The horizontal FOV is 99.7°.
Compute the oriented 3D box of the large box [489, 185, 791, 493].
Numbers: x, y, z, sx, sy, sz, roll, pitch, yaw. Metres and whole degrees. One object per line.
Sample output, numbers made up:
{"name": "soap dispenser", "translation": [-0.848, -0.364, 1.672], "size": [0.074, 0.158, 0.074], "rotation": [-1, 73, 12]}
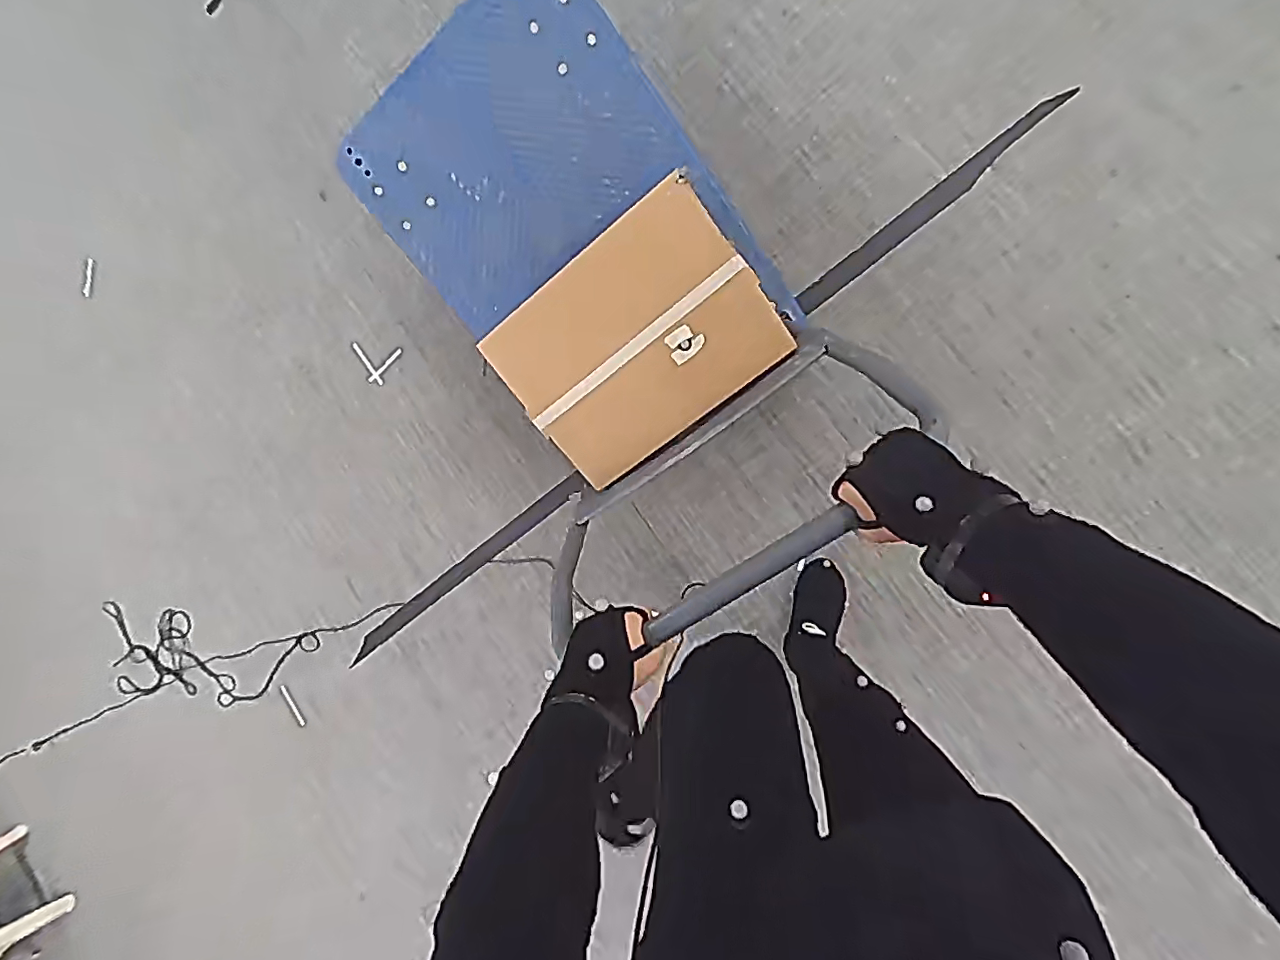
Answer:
{"name": "large box", "translation": [0.003, -0.247, 1.007], "size": [0.408, 0.320, 0.320], "rotation": [-37, 103, 14]}
